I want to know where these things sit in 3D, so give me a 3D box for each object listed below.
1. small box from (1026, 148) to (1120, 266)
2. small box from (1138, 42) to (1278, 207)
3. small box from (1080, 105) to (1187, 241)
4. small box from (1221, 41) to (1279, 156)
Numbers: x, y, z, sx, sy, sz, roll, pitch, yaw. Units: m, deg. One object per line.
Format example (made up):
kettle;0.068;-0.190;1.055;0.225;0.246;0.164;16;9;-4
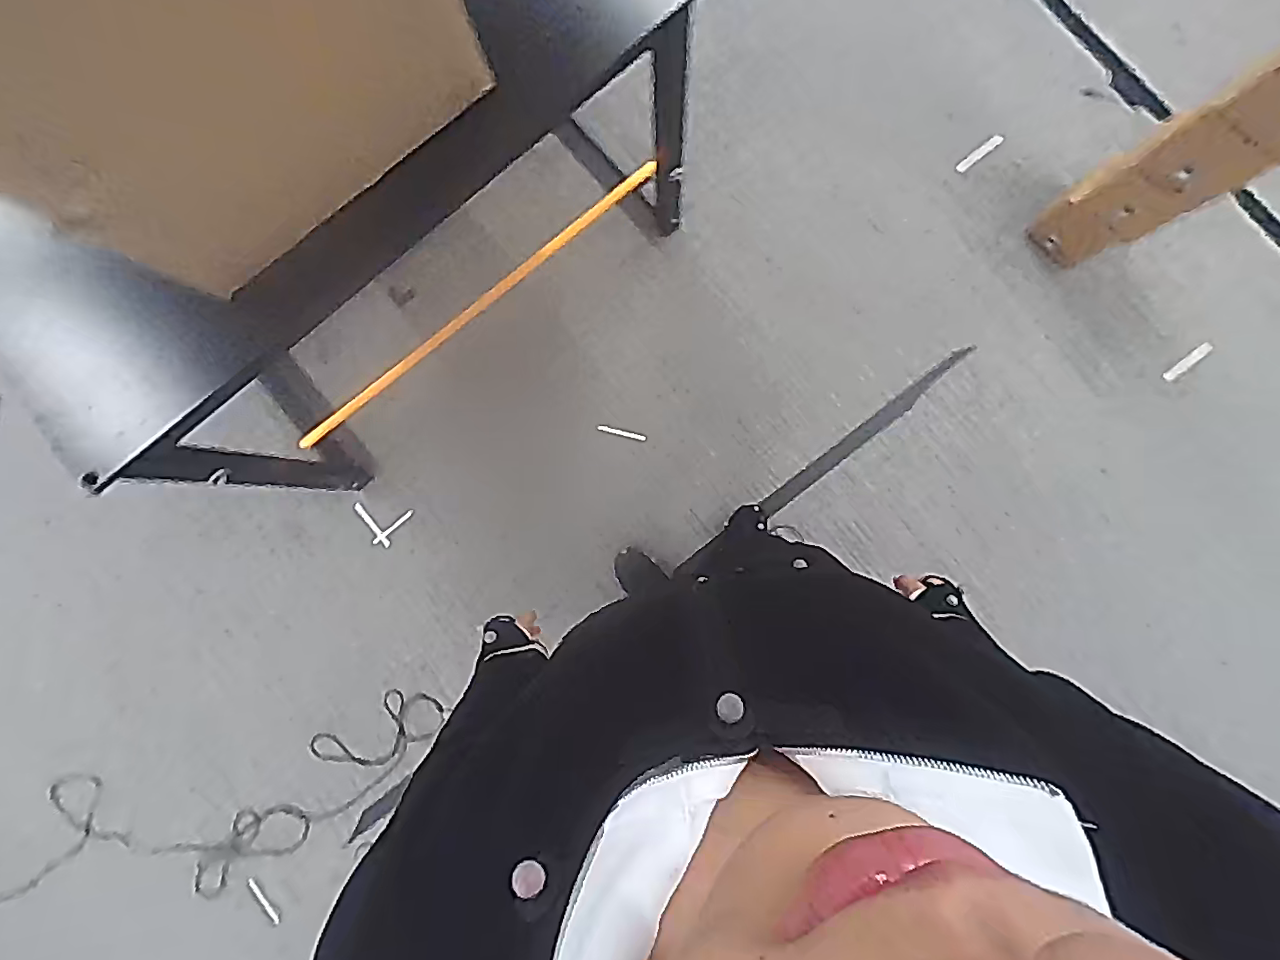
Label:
small box;1.171;-0.702;1.410;0.168;0.176;0.179;44;91;4
small box;1.176;-0.697;1.080;0.179;0.176;0.168;-42;86;0
small box;1.175;-0.694;1.245;0.168;0.176;0.179;43;90;4
small box;1.175;-0.698;0.915;0.179;0.176;0.168;45;90;3
